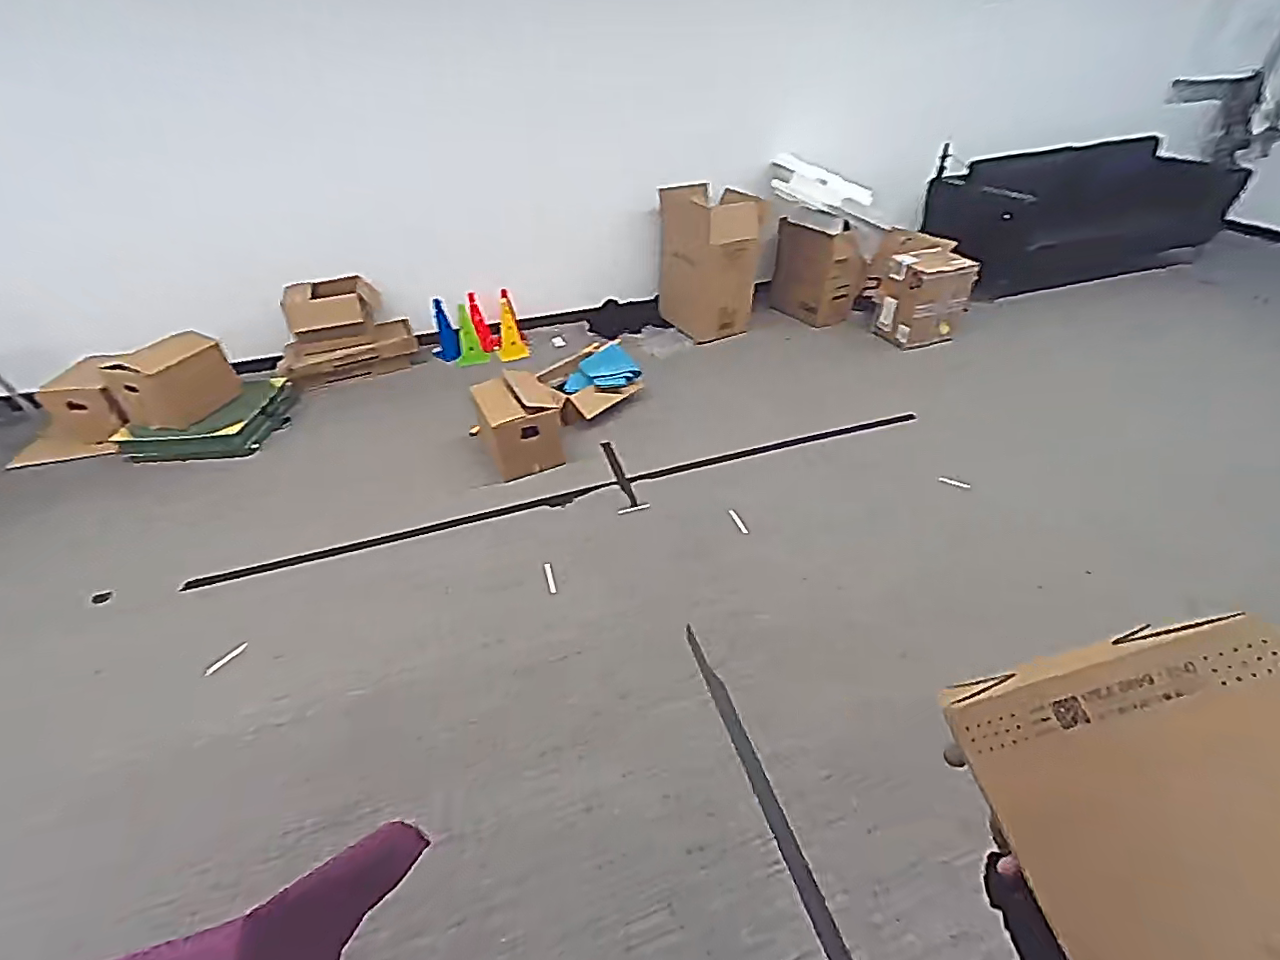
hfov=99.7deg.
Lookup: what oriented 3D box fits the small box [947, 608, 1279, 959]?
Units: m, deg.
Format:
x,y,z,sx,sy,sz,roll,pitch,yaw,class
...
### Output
x,y,z,sx,sy,sz,roll,pitch,yaw,class
0.317,0.188,0.337,0.168,0.179,0.176,-29,63,20,small box
